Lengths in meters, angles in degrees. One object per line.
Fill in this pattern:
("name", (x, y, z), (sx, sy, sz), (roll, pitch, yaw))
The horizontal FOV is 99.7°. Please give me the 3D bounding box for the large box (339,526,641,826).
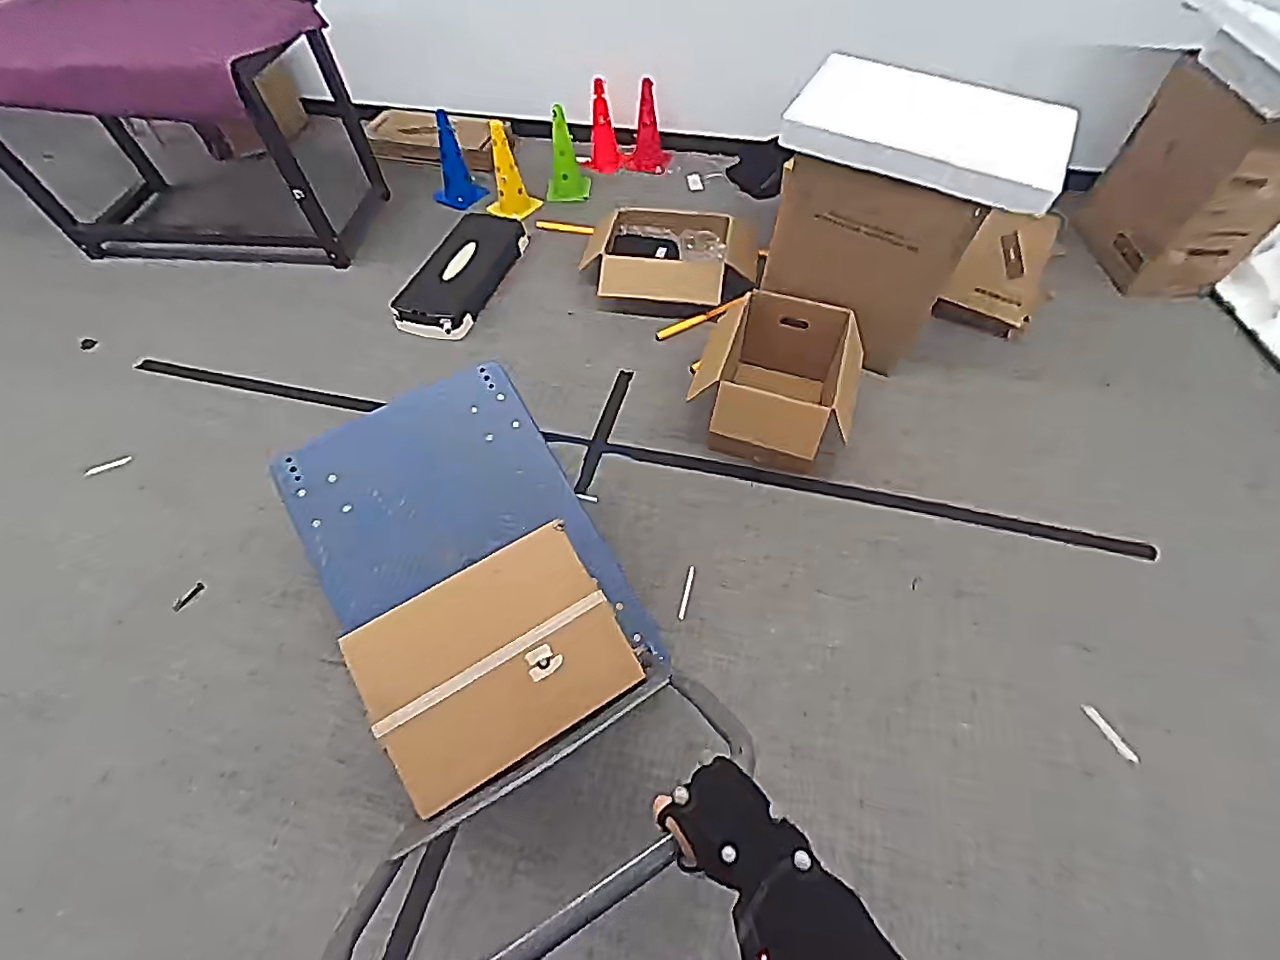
("large box", (-0.259, 0.344, 1.028), (0.408, 0.320, 0.320), (-30, 81, -14))
